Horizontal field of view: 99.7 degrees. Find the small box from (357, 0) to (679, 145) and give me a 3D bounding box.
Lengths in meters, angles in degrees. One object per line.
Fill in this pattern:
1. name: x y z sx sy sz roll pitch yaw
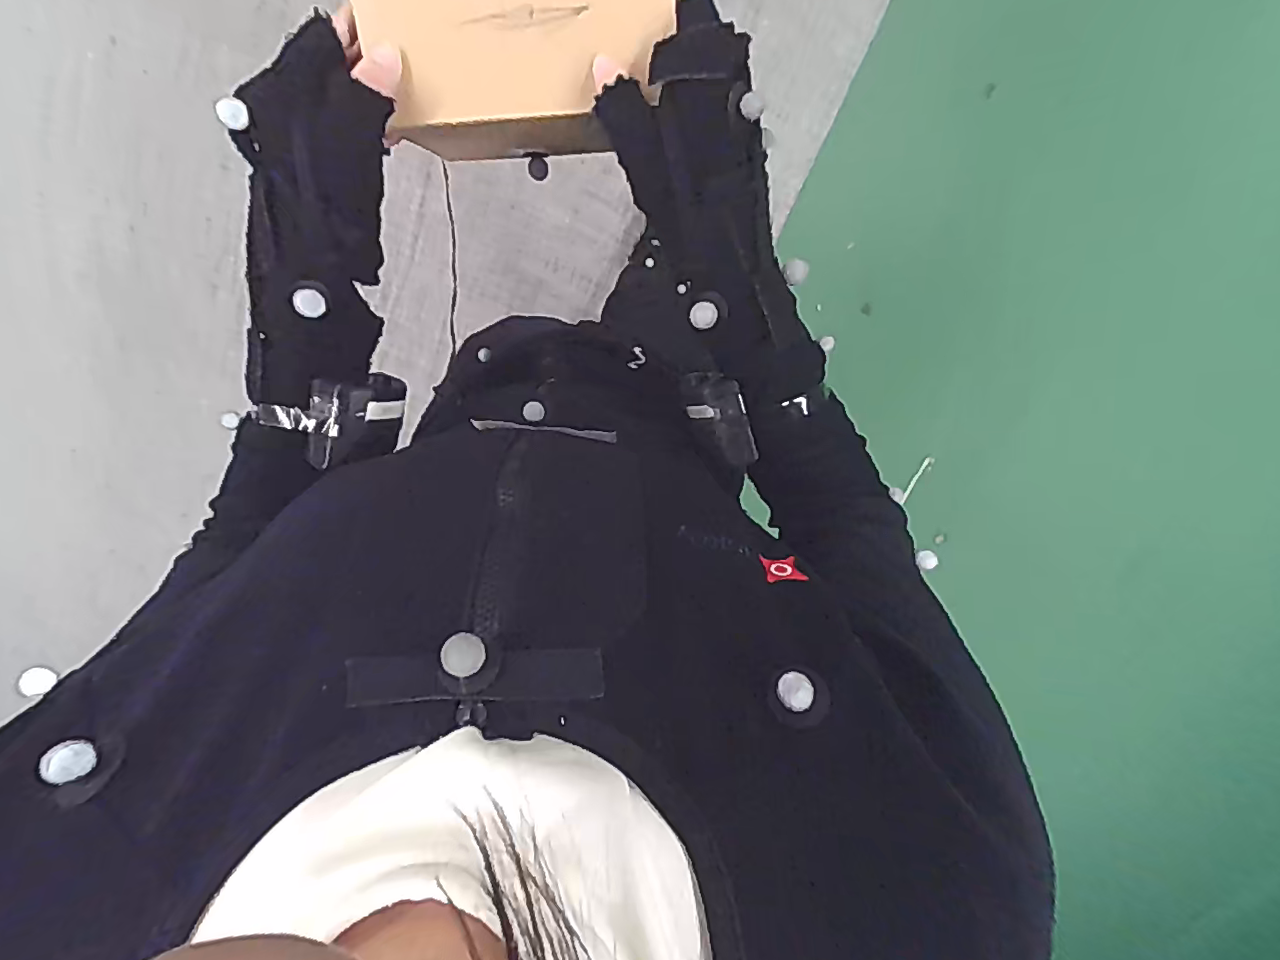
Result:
1. small box: -0.070 -0.321 0.329 0.168 0.176 0.179 -5 116 -1
